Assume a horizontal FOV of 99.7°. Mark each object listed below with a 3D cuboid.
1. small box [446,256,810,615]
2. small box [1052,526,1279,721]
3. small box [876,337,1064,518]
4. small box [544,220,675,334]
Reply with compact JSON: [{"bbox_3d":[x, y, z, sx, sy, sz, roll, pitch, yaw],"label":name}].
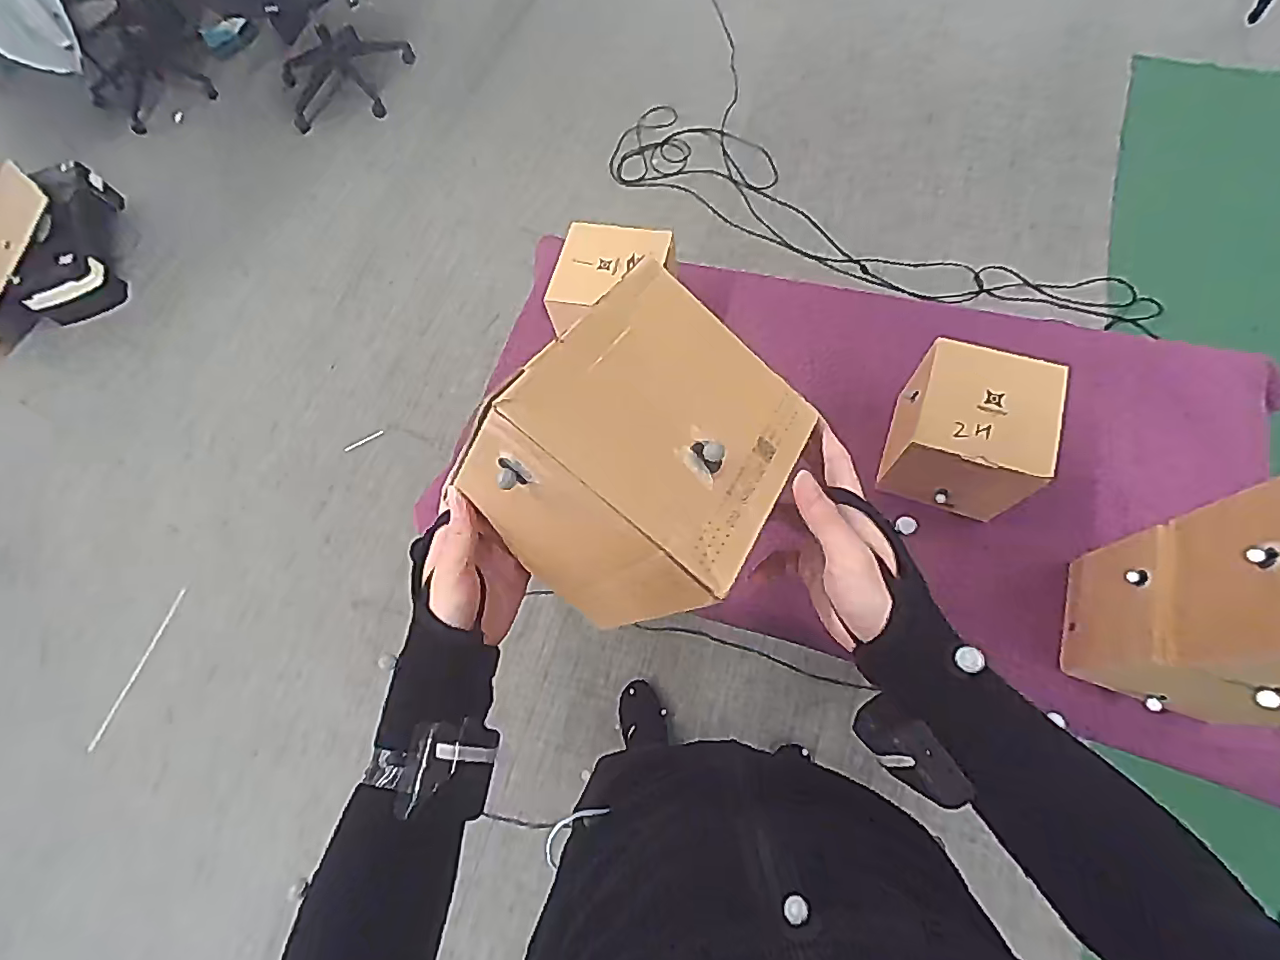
[{"bbox_3d":[-0.012,-0.016,0.403,0.176,0.179,0.168,43,58,-9],"label":"small box"},{"bbox_3d":[0.656,0.179,0.660,0.179,0.176,0.168,18,70,13],"label":"small box"},{"bbox_3d":[0.463,-0.070,0.781,0.168,0.176,0.179,19,72,13],"label":"small box"},{"bbox_3d":[-0.039,-0.310,0.928,0.179,0.176,0.168,11,70,11],"label":"small box"}]
